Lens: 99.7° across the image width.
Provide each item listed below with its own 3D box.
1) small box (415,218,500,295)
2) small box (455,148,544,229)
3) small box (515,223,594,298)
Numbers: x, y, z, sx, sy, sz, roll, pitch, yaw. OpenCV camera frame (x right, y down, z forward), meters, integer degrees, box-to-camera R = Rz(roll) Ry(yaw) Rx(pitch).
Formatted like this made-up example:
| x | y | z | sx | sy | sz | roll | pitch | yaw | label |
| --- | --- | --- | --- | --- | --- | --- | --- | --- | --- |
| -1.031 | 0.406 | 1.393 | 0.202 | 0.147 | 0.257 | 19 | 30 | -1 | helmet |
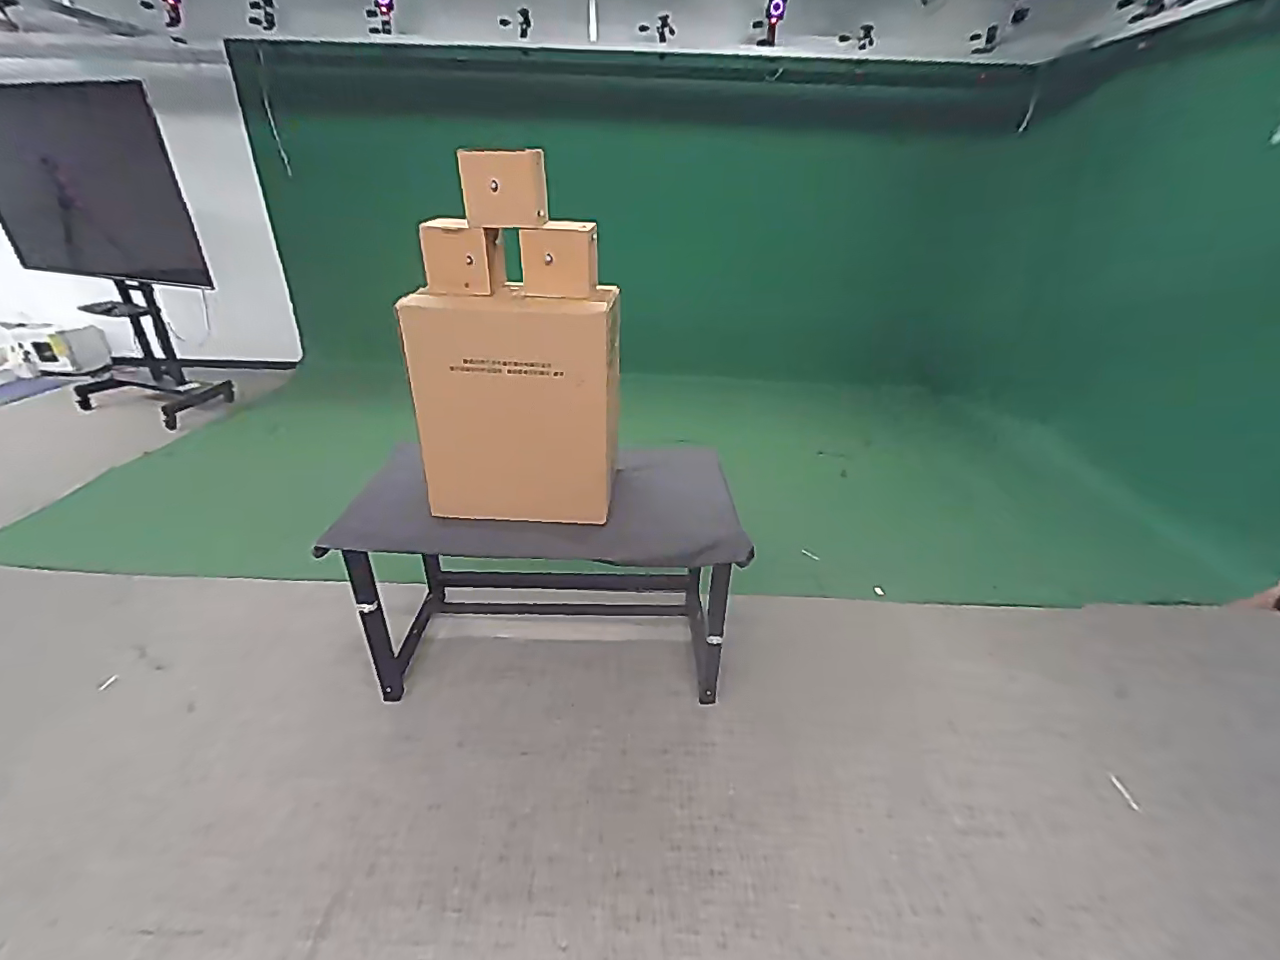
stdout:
| x | y | z | sx | sy | sz | roll | pitch | yaw | label |
| --- | --- | --- | --- | --- | --- | --- | --- | --- | --- |
| -0.478 | -0.598 | 1.445 | 0.168 | 0.176 | 0.179 | 4 | 29 | -1 | small box |
| -0.344 | -0.735 | 1.363 | 0.179 | 0.176 | 0.168 | 1 | 30 | 1 | small box |
| -0.221 | -0.587 | 1.445 | 0.179 | 0.176 | 0.168 | 3 | 31 | 2 | small box |
